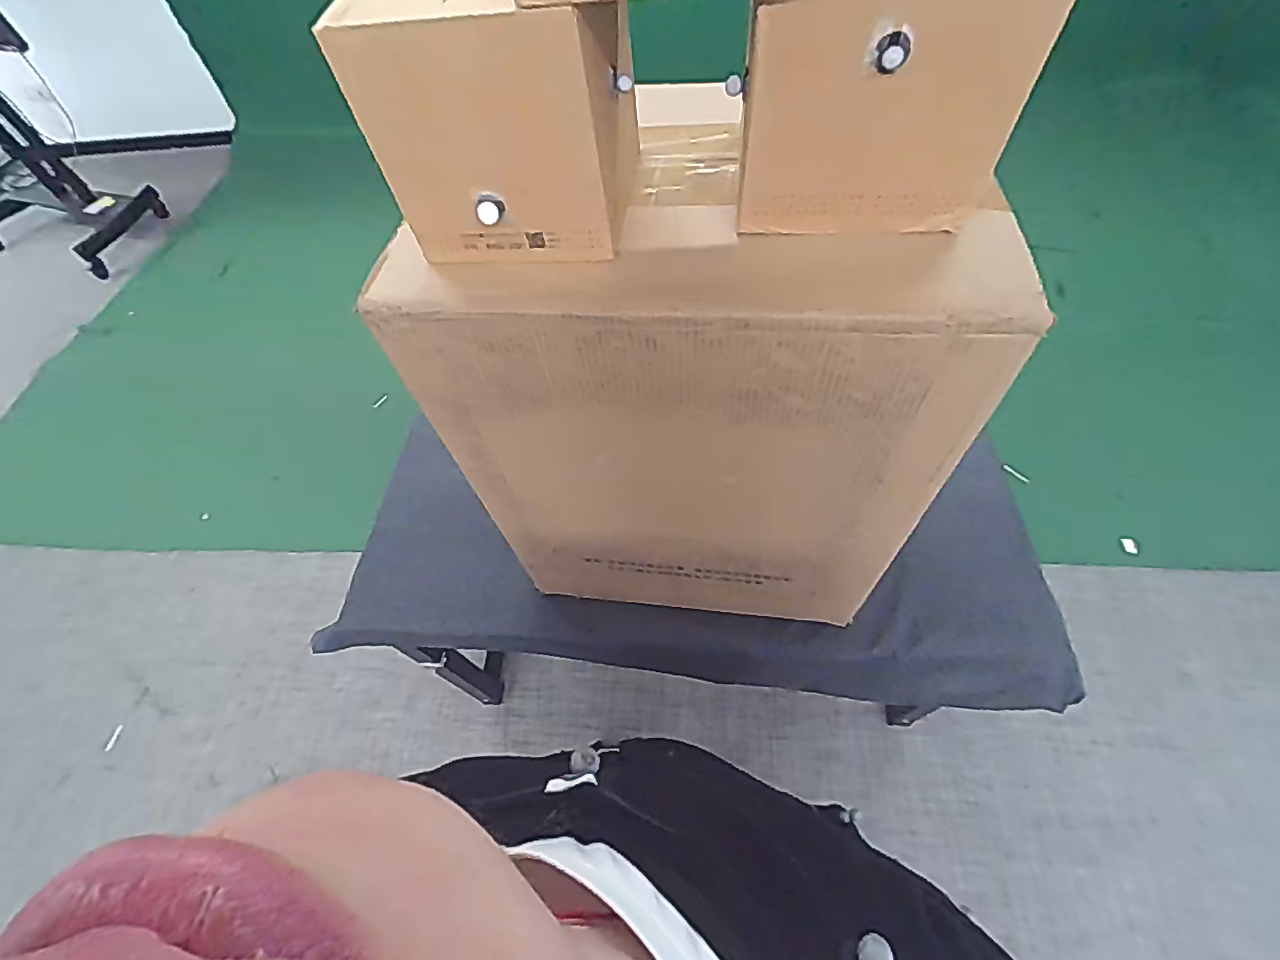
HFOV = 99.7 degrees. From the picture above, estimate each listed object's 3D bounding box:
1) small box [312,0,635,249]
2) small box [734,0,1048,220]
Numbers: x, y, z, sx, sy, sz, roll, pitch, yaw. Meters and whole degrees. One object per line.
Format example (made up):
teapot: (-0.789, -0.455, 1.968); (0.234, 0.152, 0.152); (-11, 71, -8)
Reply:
small box: (-0.099, -0.308, 0.419); (0.168, 0.176, 0.179); (3, 60, 8)
small box: (0.164, -0.315, 0.398); (0.179, 0.176, 0.168); (4, 61, 5)
